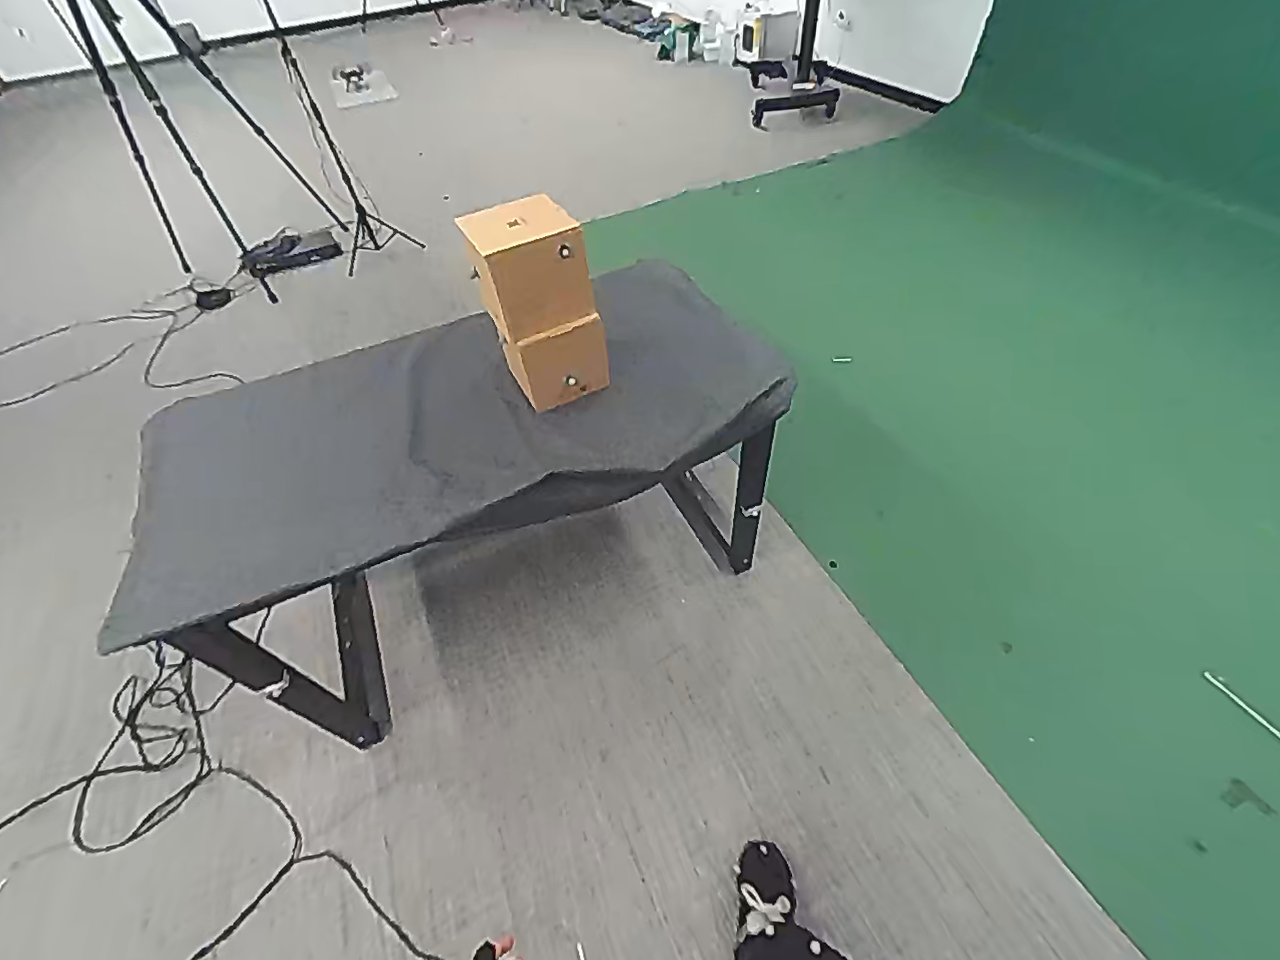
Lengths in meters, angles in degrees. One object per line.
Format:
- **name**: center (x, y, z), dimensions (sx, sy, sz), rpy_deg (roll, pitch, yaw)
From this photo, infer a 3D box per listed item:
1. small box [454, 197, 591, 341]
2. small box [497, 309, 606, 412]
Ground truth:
- **small box**: center (-0.206, -0.378, 0.978), dimensions (0.179, 0.176, 0.168), rpy_deg (-25, 52, -16)
- **small box**: center (-0.182, -0.270, 1.098), dimensions (0.168, 0.176, 0.179), rpy_deg (-25, 52, -15)
